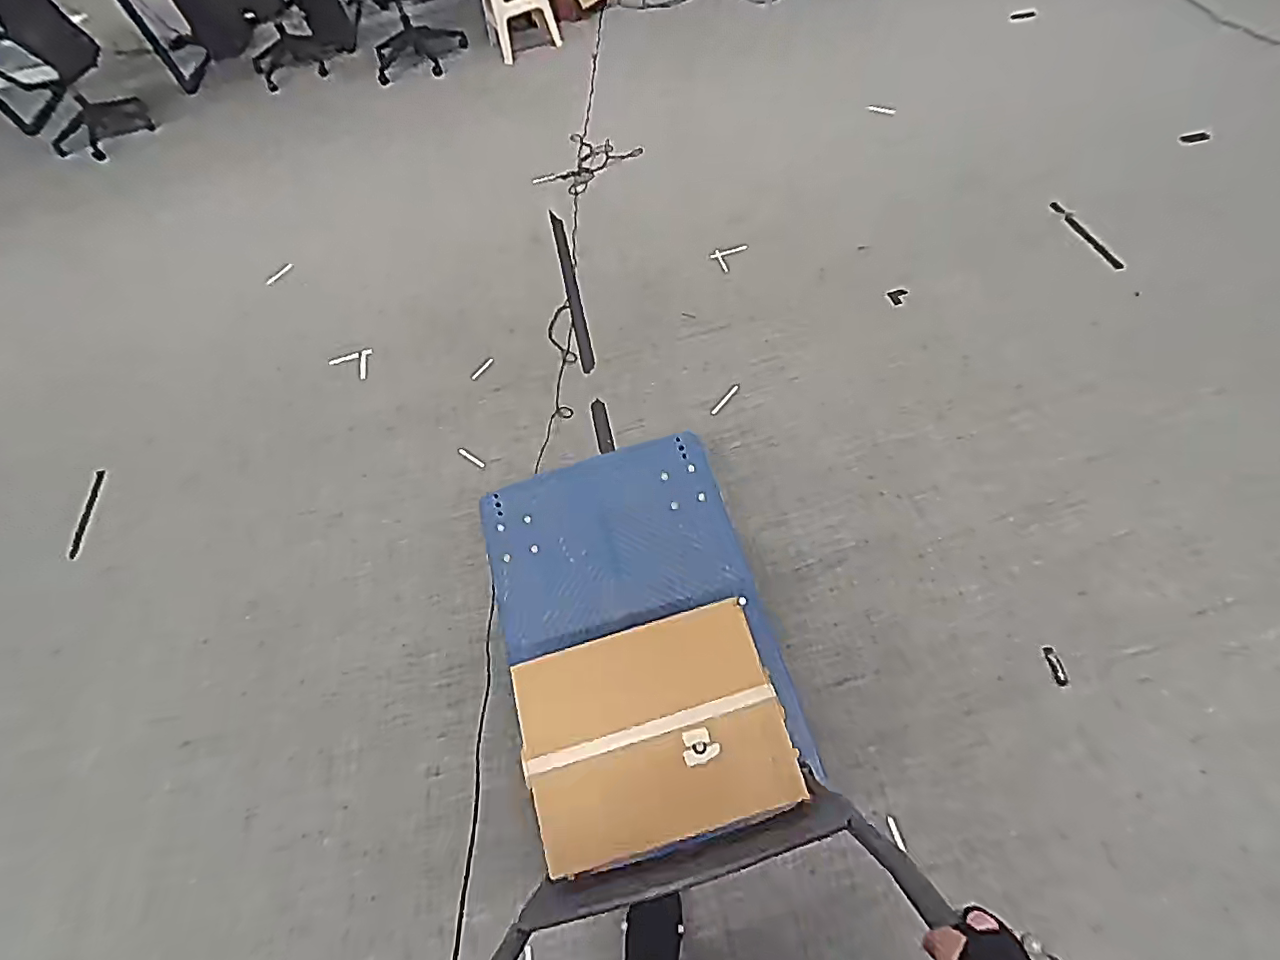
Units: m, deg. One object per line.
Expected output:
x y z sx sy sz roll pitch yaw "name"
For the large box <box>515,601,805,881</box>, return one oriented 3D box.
0.030 0.457 0.997 0.408 0.320 0.320 -17 68 -2 "large box"
